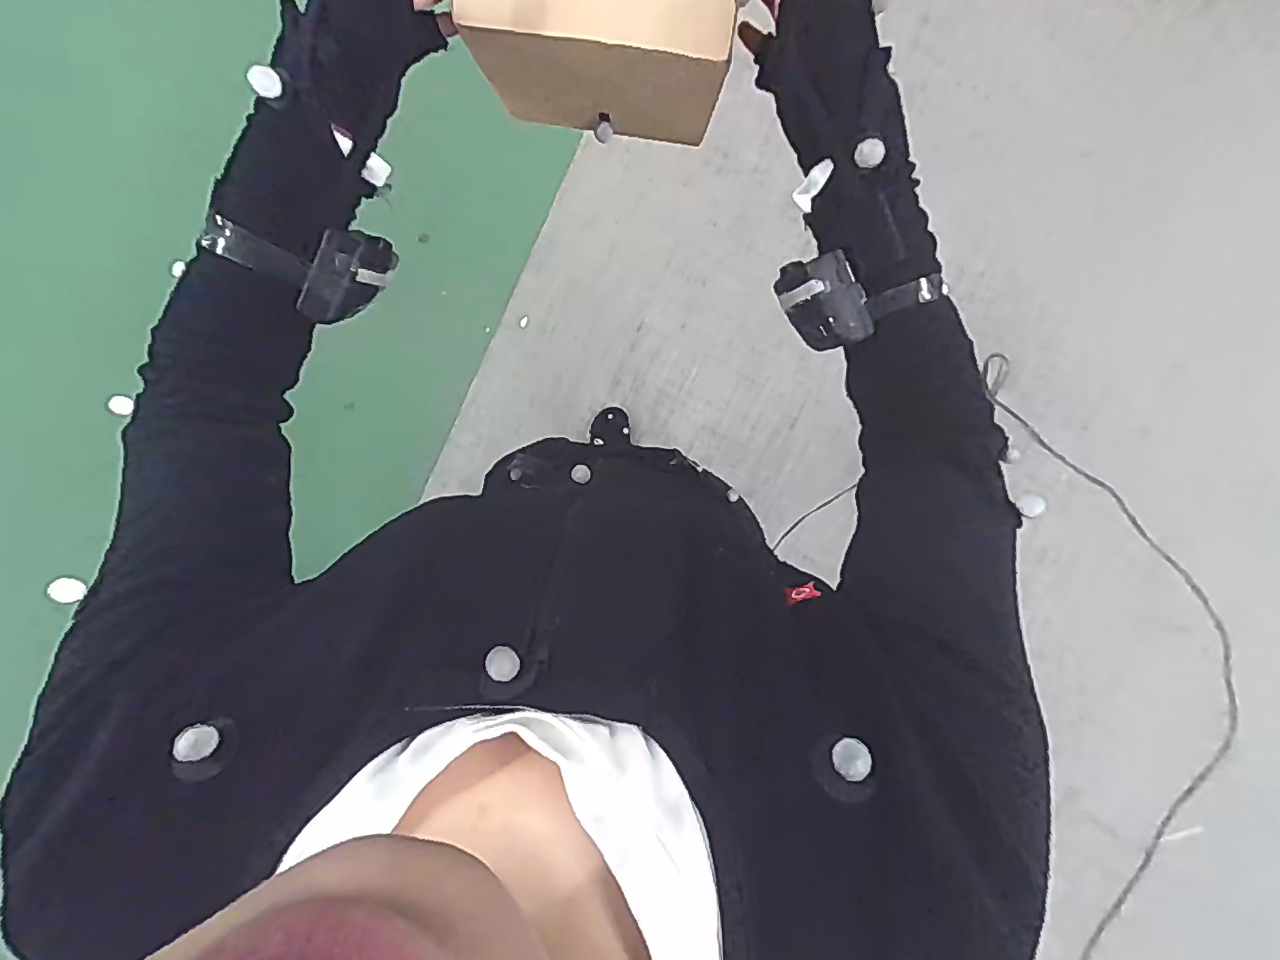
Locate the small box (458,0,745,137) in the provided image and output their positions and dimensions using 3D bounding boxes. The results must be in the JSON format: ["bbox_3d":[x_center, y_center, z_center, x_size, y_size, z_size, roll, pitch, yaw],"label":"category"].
[{"bbox_3d":[-0.017,-0.373,0.391,0.179,0.176,0.168,7,106,-3],"label":"small box"}]
